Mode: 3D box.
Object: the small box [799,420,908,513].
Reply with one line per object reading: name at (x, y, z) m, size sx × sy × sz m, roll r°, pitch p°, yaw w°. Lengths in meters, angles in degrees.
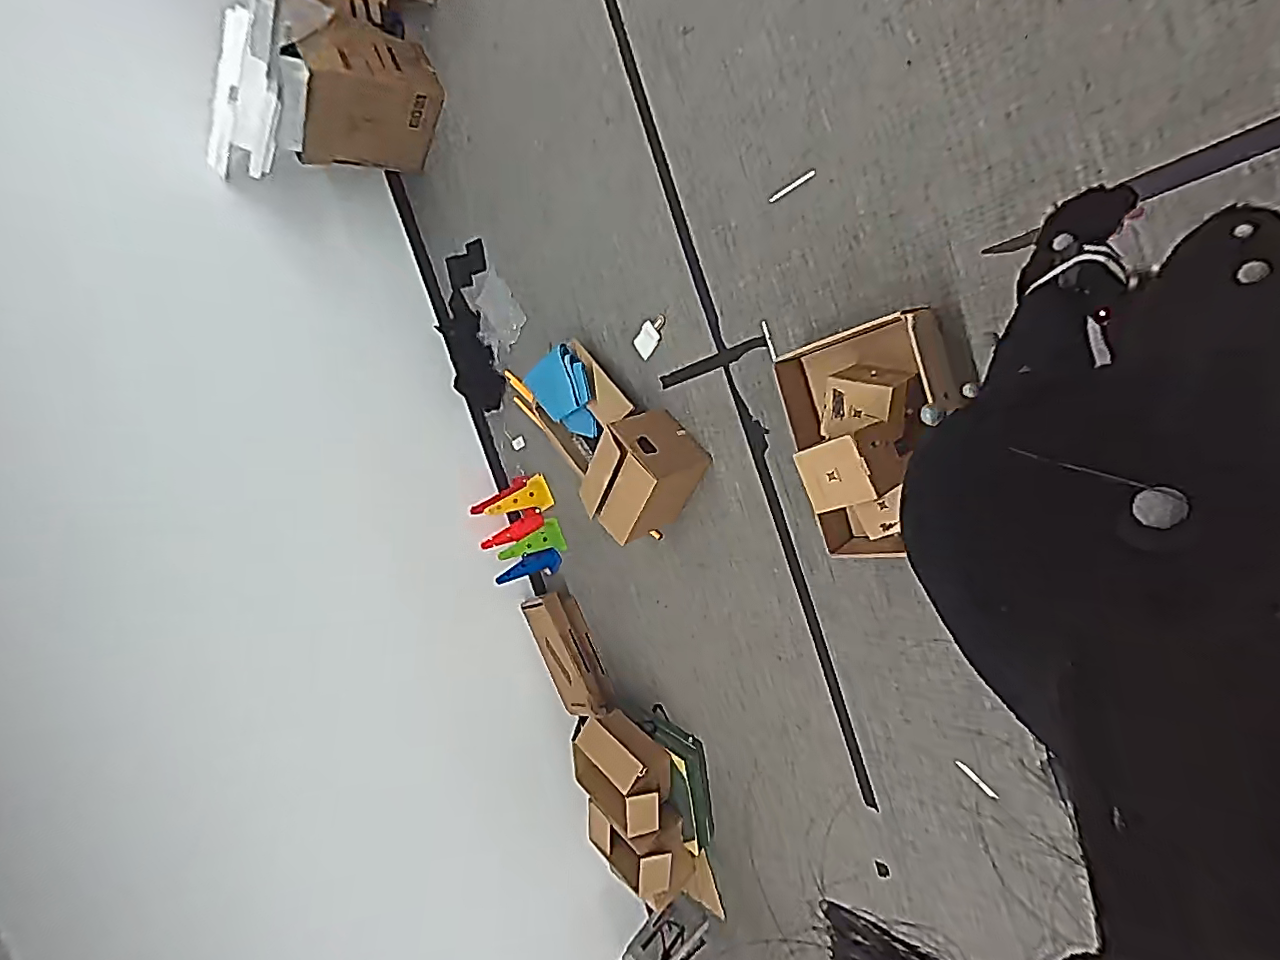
small box at (0.538, -0.036, 1.349) m, size 0.179 × 0.176 × 0.168 m, roll -25°, pitch 86°, yaw 53°
